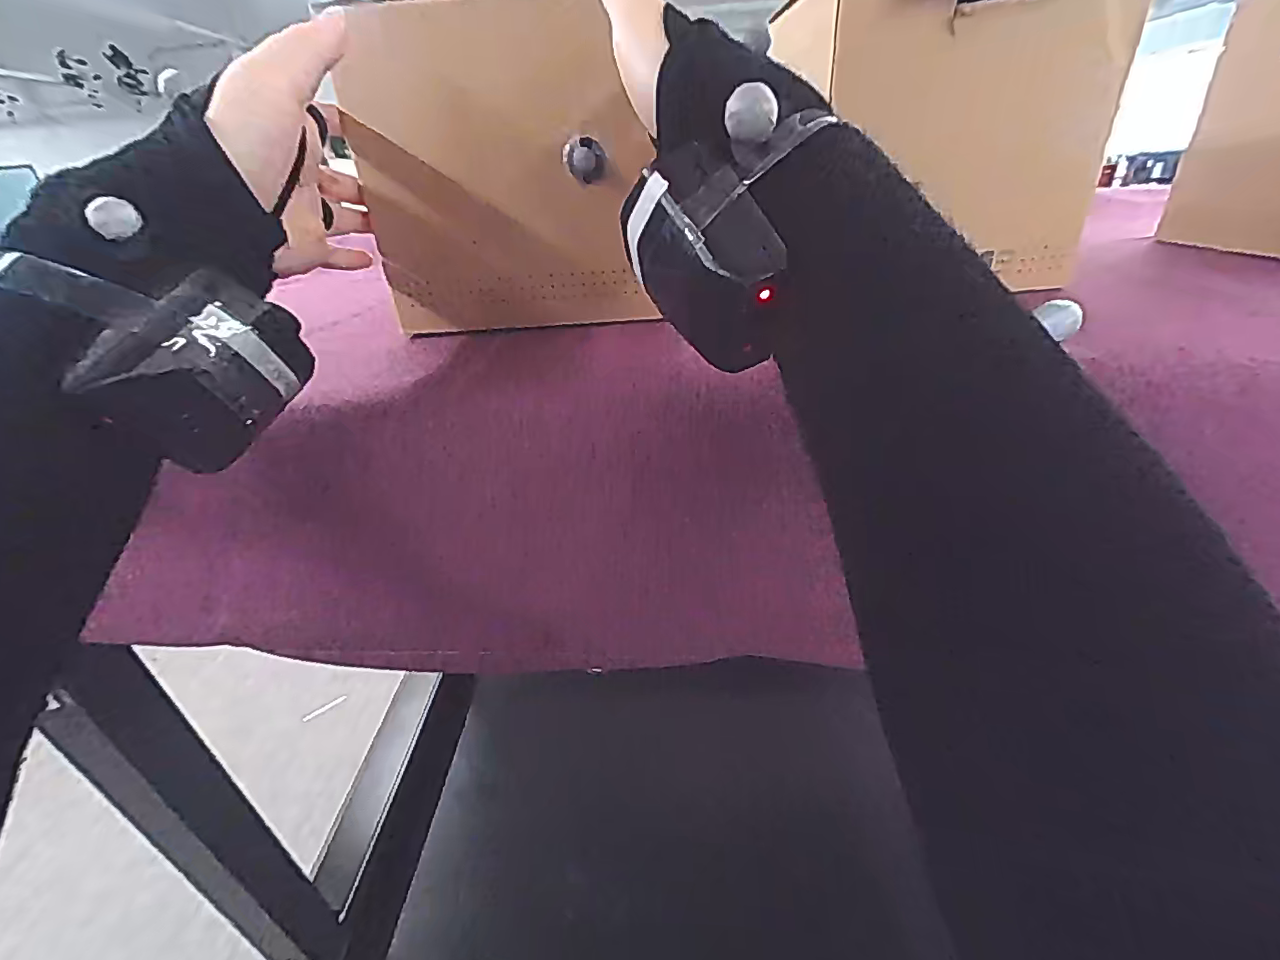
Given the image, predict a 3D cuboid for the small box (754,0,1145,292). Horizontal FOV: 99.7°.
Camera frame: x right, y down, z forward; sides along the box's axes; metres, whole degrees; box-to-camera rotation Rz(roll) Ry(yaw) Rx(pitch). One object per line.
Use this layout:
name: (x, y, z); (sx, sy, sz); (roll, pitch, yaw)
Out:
small box: (0.178, -0.226, 0.363); (0.168, 0.176, 0.179); (-5, 29, -2)

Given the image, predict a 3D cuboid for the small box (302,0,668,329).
small box: (-0.070, -0.205, 0.360); (0.179, 0.176, 0.168); (-3, 28, 2)

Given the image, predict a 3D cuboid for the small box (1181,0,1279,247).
small box: (0.508, -0.236, 0.331); (0.168, 0.176, 0.179); (-2, 30, 6)
